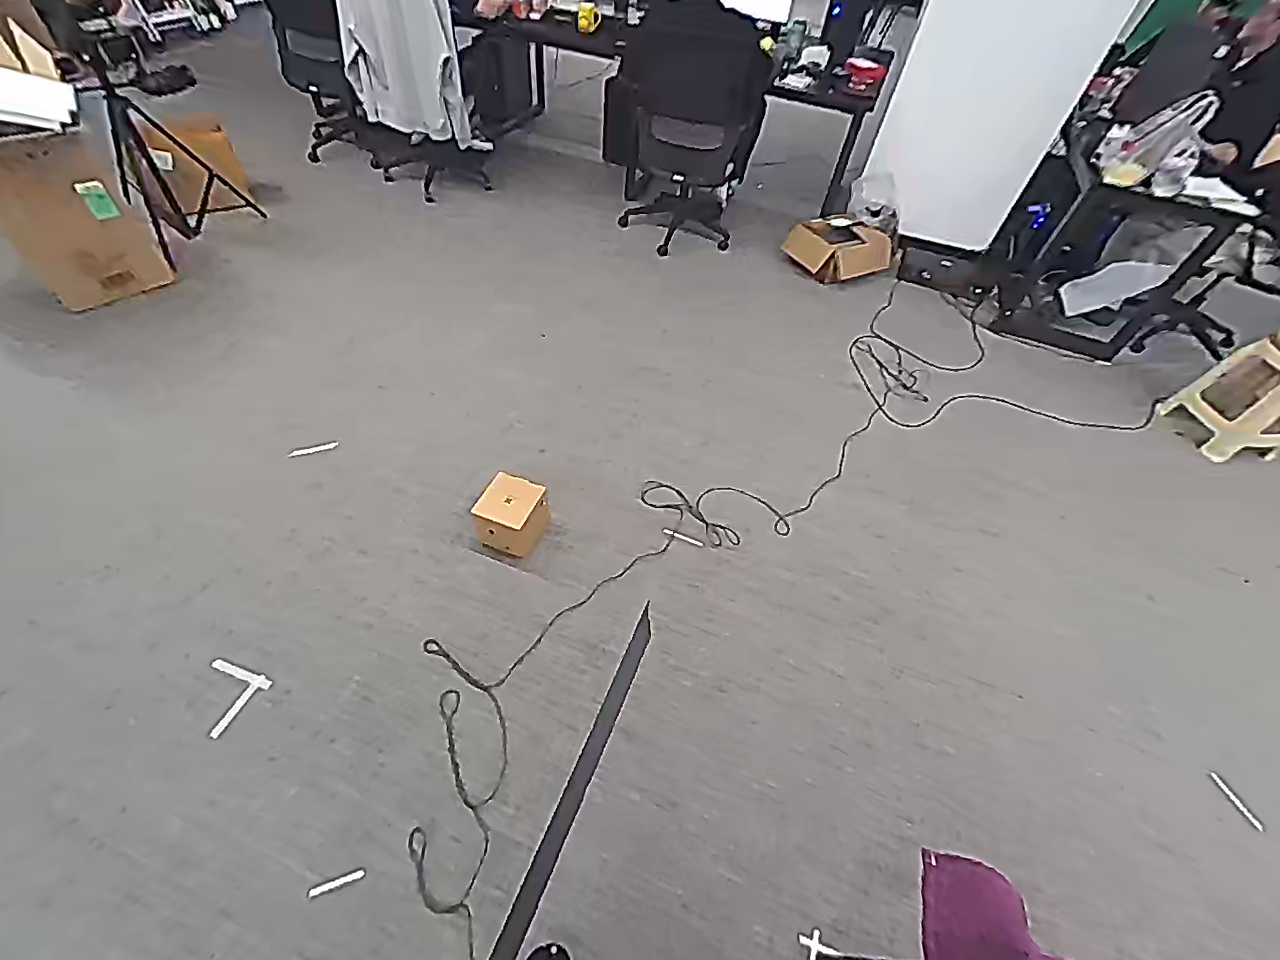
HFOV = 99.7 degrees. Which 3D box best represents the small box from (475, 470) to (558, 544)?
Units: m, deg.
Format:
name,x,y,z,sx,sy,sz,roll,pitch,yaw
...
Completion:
name,x,y,z,sx,sy,sz,roll,pitch,yaw
small box,-0.380,0.078,1.669,0.179,0.176,0.168,2,29,19
